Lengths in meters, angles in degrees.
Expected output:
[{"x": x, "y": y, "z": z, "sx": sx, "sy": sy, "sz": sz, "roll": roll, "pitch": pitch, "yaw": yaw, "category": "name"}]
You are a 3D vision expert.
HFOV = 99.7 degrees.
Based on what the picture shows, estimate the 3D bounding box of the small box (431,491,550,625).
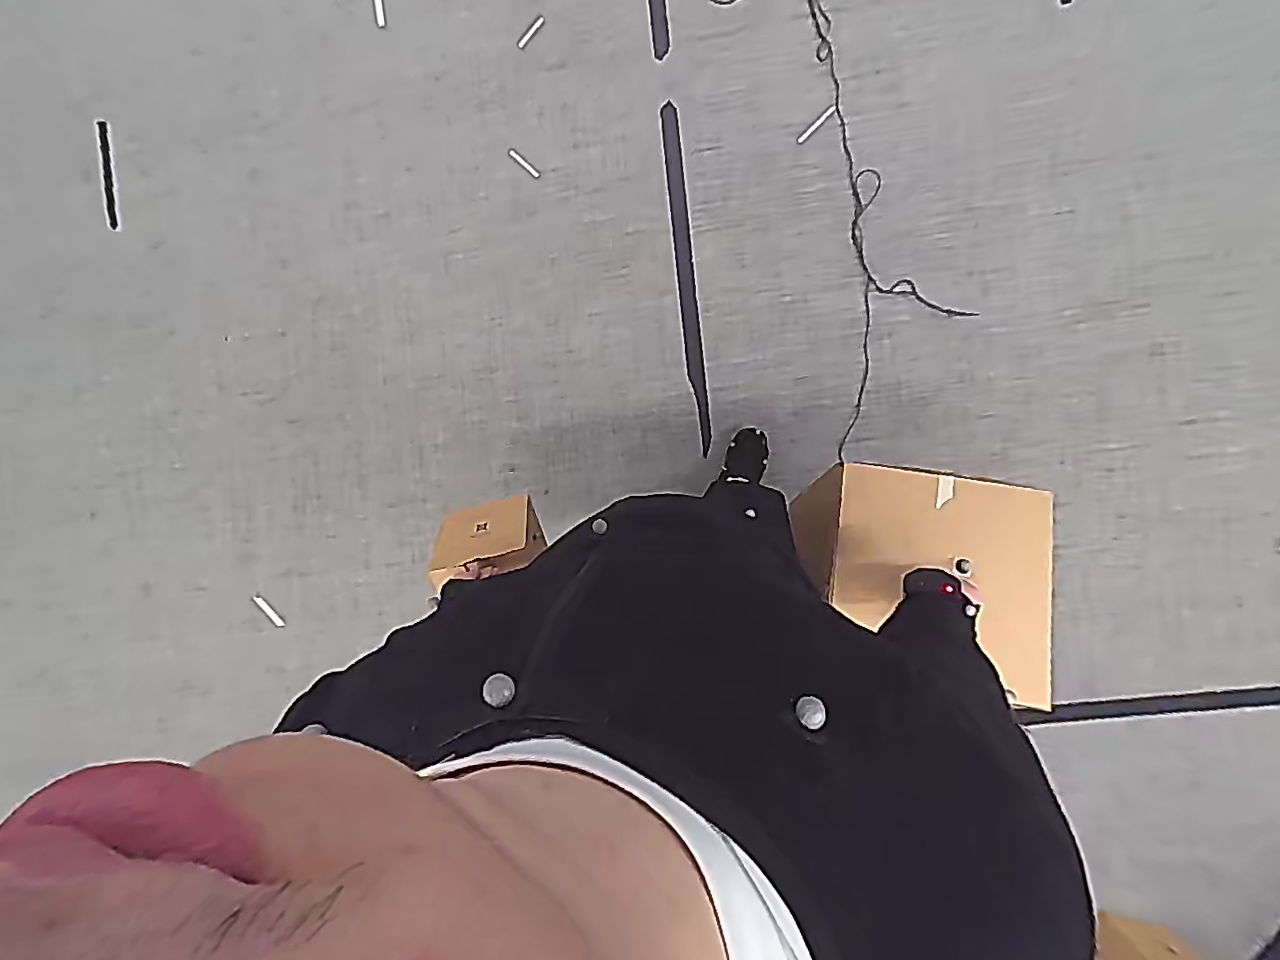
[{"x": -0.268, "y": 0.150, "z": 1.013, "sx": 0.168, "sy": 0.179, "sz": 0.176, "roll": -13, "pitch": 123, "yaw": -2, "category": "small box"}]
